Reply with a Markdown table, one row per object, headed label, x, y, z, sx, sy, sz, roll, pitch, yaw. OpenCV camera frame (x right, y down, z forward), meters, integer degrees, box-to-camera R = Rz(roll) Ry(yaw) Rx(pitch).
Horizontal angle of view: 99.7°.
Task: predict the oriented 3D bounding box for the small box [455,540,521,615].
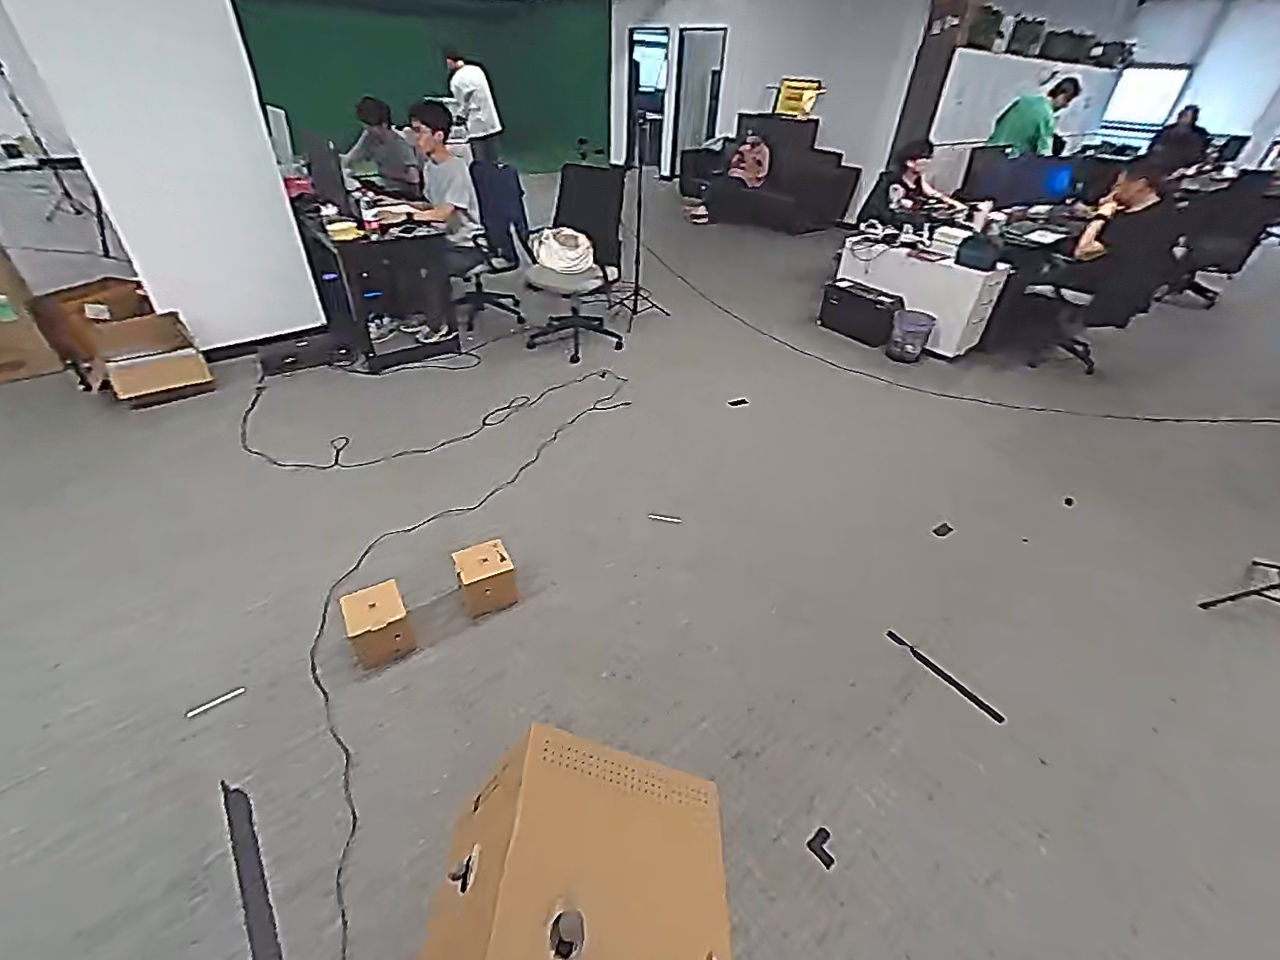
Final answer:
| label | x | y | z | sx | sy | sz | roll | pitch | yaw |
| --- | --- | --- | --- | --- | --- | --- | --- | --- | --- |
| small box | -0.533 | 0.345 | 1.900 | 0.179 | 0.176 | 0.168 | -17 | 42 | -24 |

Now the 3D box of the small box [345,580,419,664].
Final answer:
| label | x | y | z | sx | sy | sz | roll | pitch | yaw |
| --- | --- | --- | --- | --- | --- | --- | --- | --- | --- |
| small box | -0.822 | 0.460 | 1.730 | 0.168 | 0.176 | 0.179 | -18 | 42 | -26 |

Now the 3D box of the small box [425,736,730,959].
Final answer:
| label | x | y | z | sx | sy | sz | roll | pitch | yaw |
| --- | --- | --- | --- | --- | --- | --- | --- | --- | --- |
| small box | -0.052 | 0.327 | 0.415 | 0.179 | 0.168 | 0.176 | 27 | 31 | -16 |
